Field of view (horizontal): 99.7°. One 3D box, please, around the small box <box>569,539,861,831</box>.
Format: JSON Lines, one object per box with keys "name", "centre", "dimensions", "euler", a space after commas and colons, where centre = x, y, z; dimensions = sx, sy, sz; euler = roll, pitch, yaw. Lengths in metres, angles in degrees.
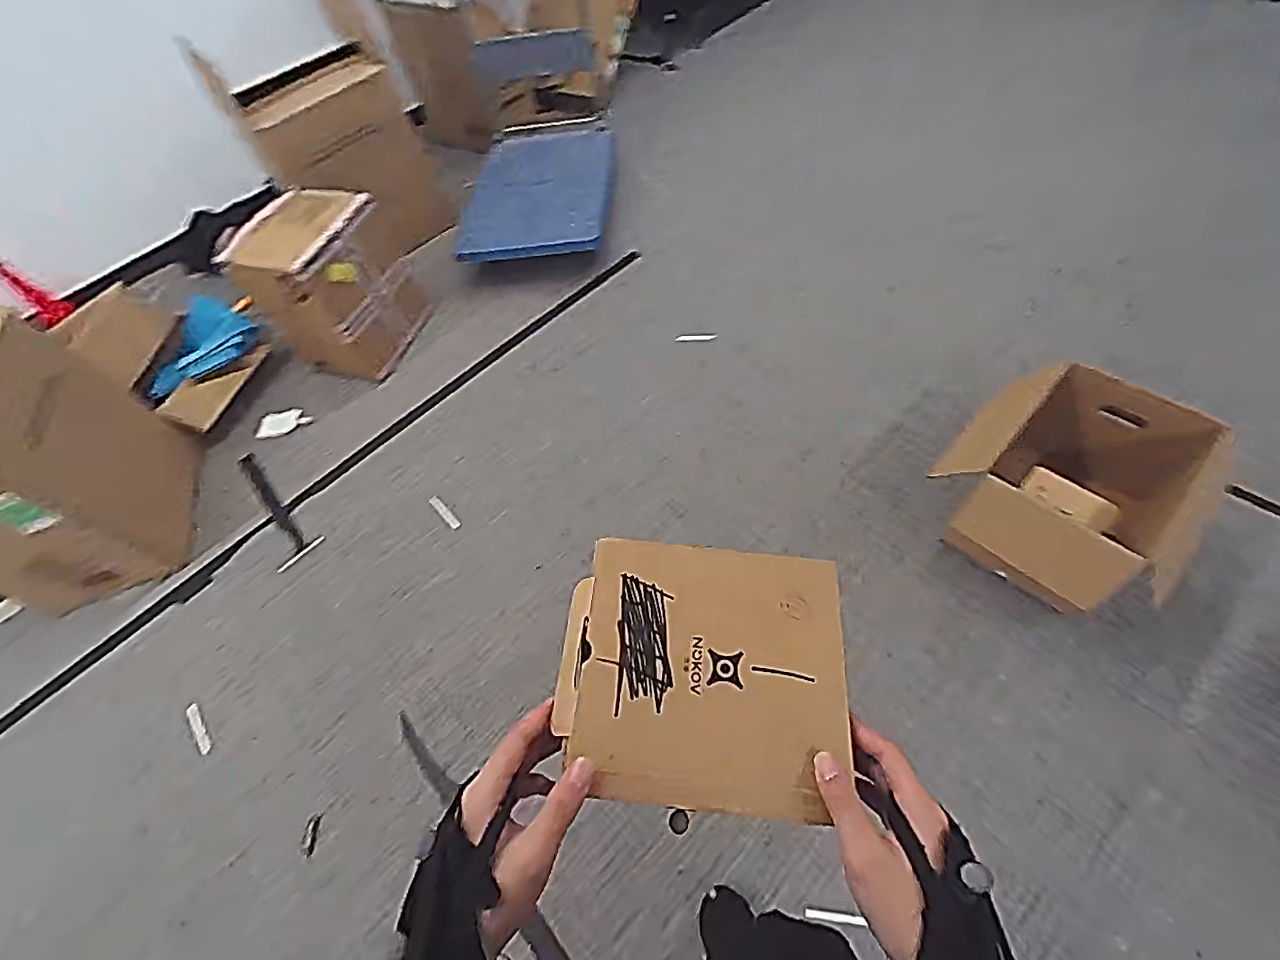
{"name": "small box", "centre": [0.051, 0.163, 0.424], "dimensions": [0.179, 0.176, 0.168], "euler": [7, 61, 2]}
